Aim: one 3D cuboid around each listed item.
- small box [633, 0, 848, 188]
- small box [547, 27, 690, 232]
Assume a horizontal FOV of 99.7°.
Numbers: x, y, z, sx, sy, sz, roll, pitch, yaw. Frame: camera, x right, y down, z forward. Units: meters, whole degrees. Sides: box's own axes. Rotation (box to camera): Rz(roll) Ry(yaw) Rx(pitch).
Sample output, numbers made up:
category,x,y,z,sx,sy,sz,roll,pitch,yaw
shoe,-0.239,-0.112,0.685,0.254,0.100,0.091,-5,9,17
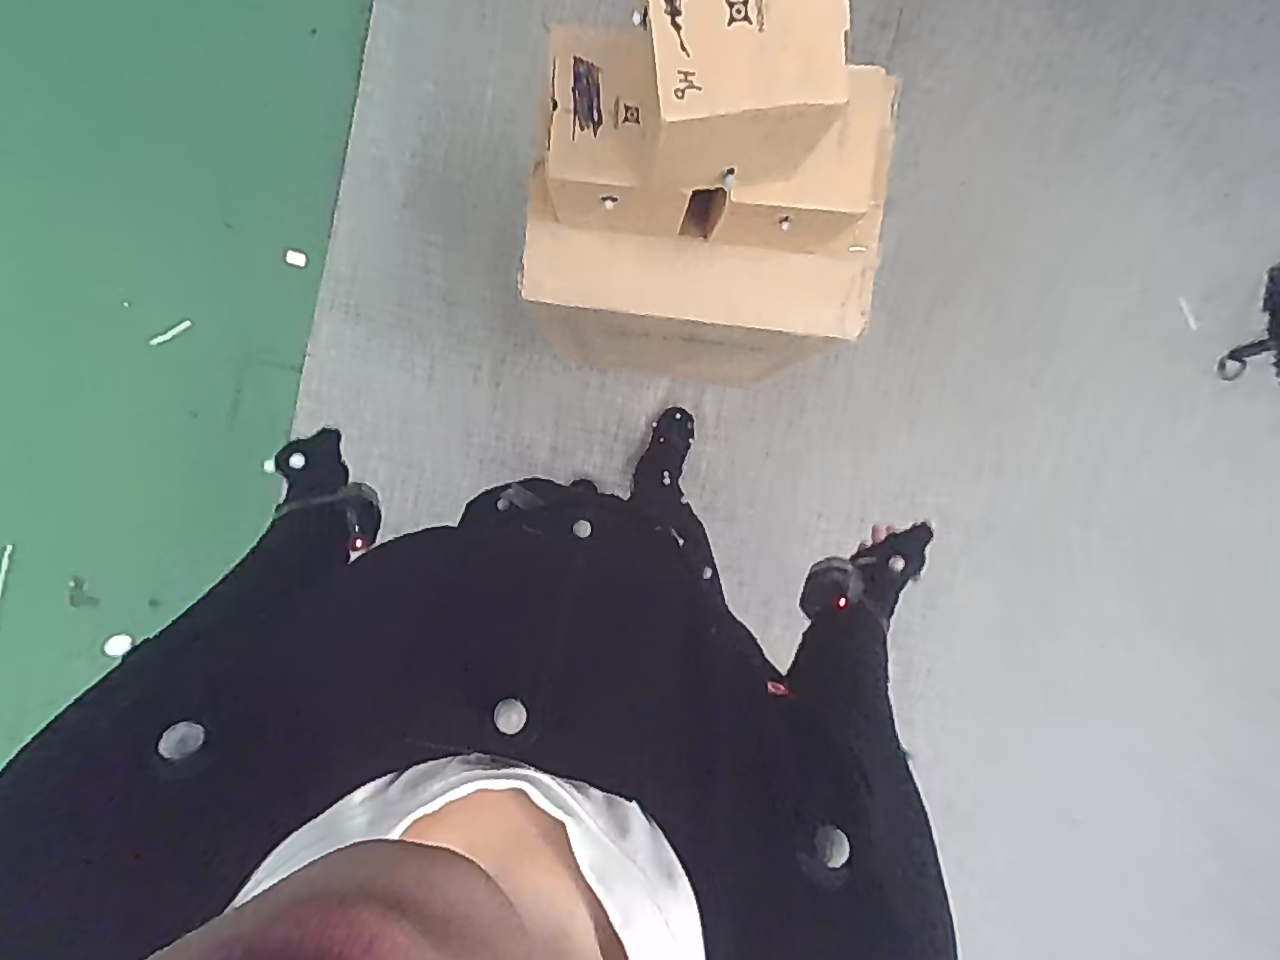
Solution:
category,x,y,z,sx,sy,sz,roll,pitch,yaw
small box,0.091,-0.423,0.557,0.179,0.176,0.168,-7,98,-3
small box,-0.020,-0.444,0.714,0.179,0.176,0.168,5,97,-3
